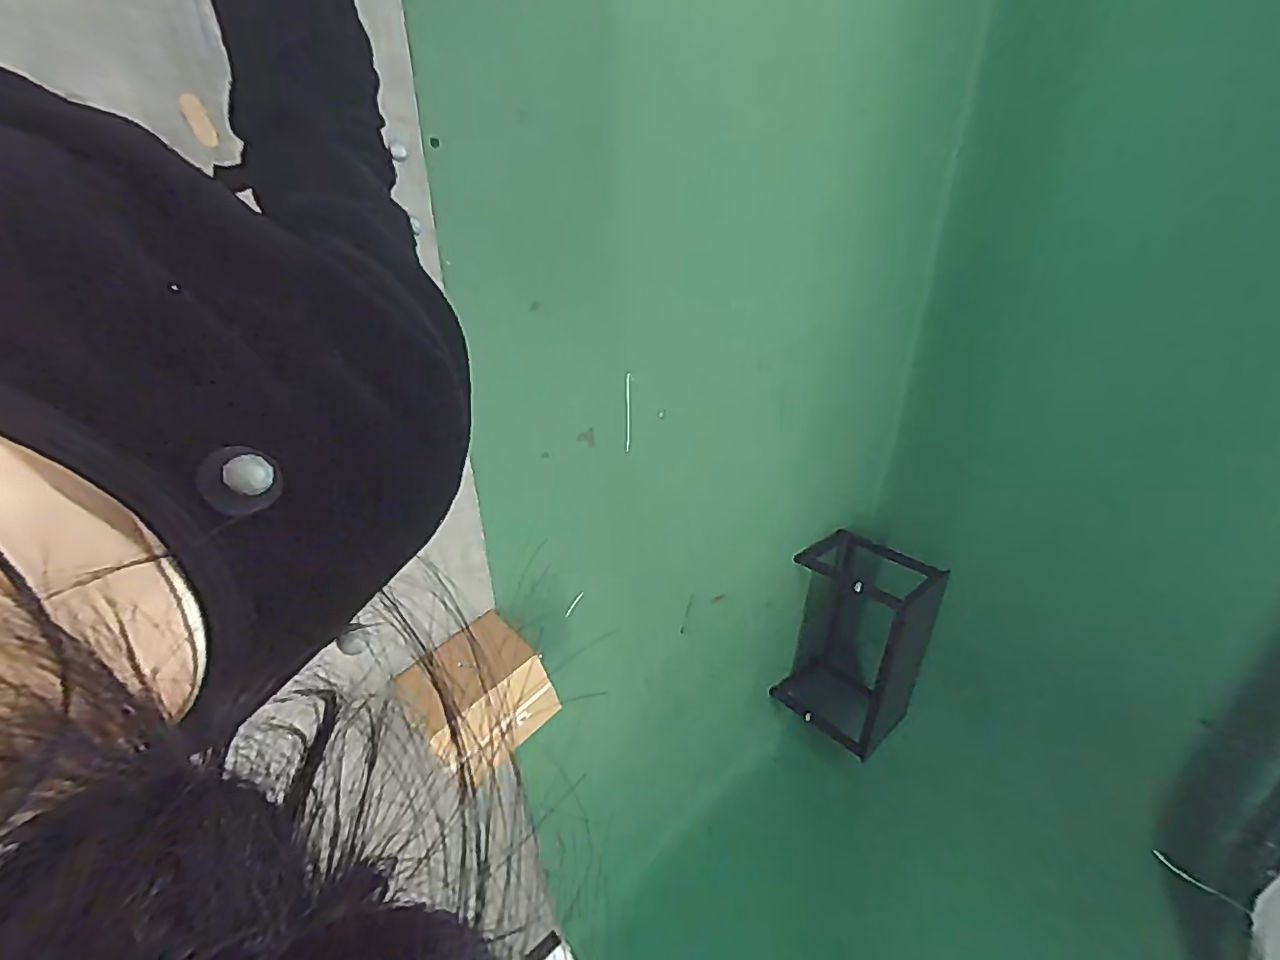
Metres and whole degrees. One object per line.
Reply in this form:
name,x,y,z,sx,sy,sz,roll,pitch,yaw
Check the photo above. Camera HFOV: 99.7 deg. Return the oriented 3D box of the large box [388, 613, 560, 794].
large box,-0.553,0.736,1.830,0.408,0.320,0.320,-36,131,-30
